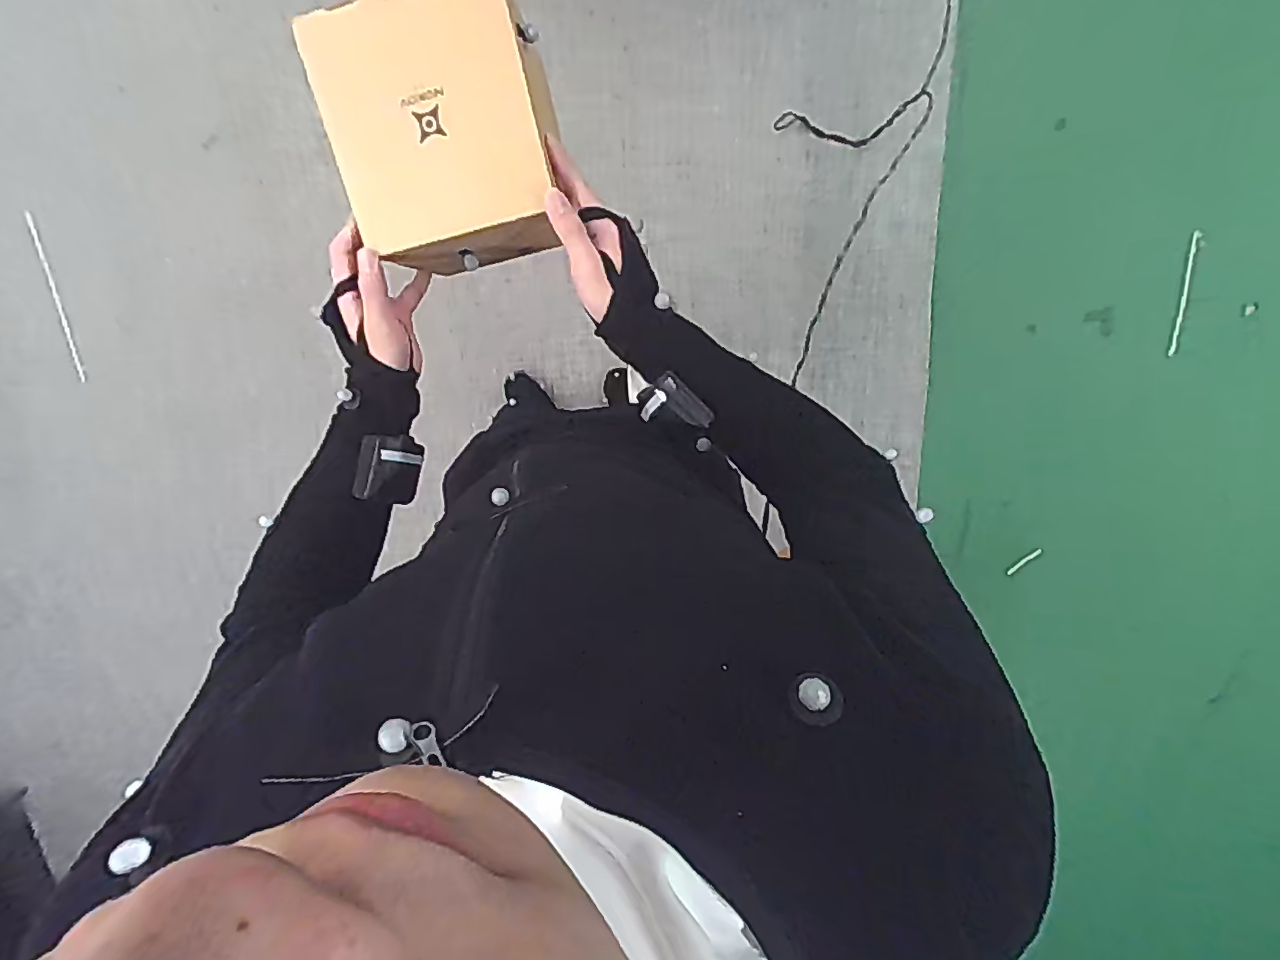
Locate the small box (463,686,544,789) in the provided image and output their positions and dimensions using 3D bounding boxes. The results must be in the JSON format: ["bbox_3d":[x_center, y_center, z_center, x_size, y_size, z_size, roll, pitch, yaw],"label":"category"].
[{"bbox_3d":[-0.354,0.673,1.428,0.168,0.176,0.179,7,103,1],"label":"small box"}]

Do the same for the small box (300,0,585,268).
[{"bbox_3d":[-0.156,-0.304,0.496,0.168,0.176,0.179,-12,103,5],"label":"small box"}]
